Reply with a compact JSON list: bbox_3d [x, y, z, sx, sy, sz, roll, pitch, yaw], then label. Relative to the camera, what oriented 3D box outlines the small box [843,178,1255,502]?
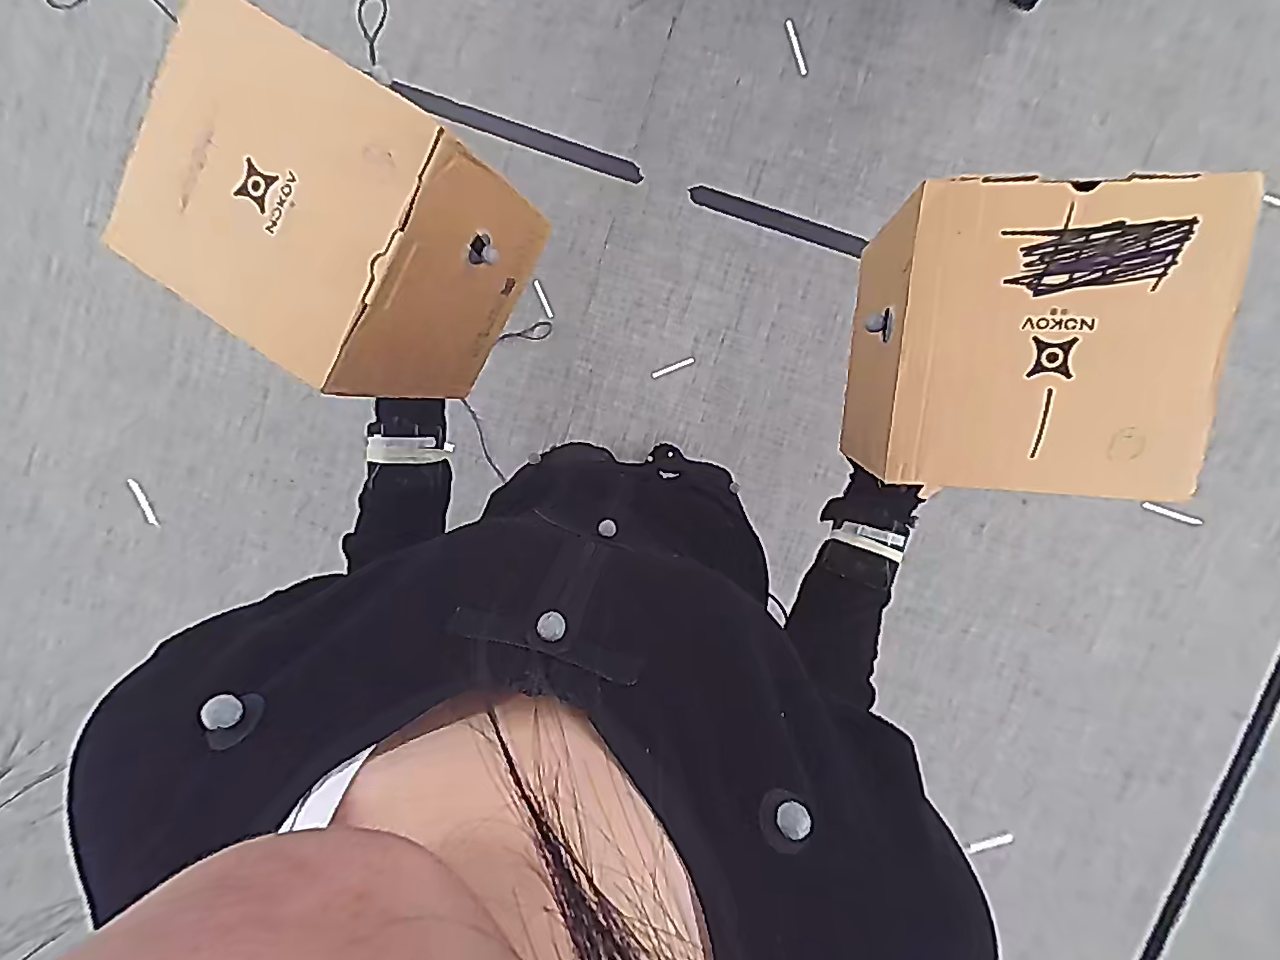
[{"bbox_3d":[0.252,-0.093,0.389,0.168,0.176,0.179,5,101,10],"label":"small box"}]

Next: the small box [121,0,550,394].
[{"bbox_3d":[-0.192,-0.176,0.388,0.179,0.176,0.168,33,101,6],"label":"small box"}]
